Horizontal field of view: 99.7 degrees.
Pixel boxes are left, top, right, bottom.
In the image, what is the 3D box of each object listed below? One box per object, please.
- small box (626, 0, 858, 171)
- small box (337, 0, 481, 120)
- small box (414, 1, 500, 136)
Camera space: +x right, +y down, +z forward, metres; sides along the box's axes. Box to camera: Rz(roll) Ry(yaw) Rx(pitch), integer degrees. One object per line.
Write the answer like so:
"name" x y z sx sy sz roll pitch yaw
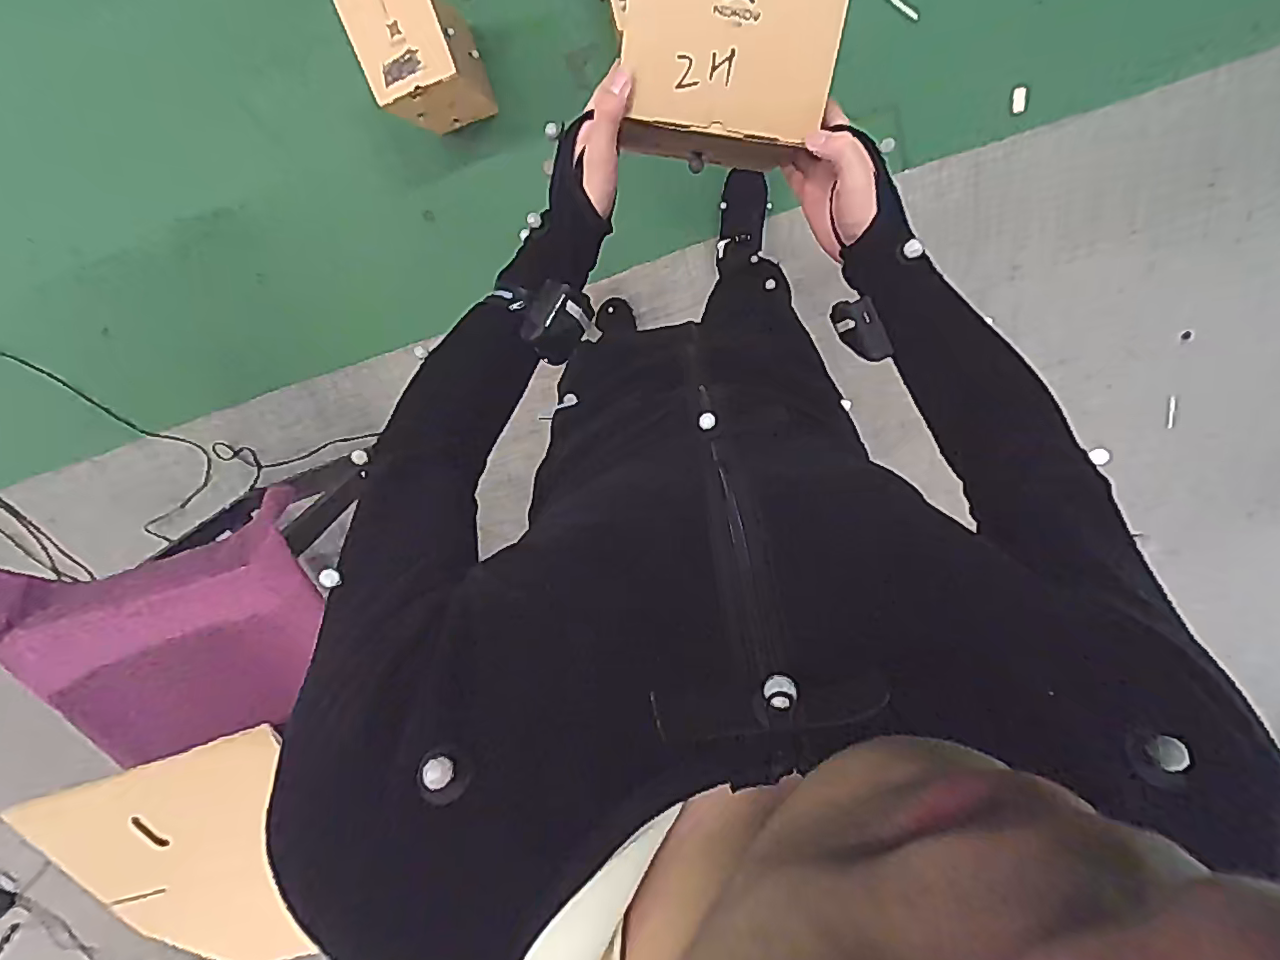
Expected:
"small box" 0.078 -0.389 0.472 0.168 0.176 0.179 6 113 -4
"small box" -0.430 -0.822 1.042 0.168 0.176 0.179 -16 113 7
"small box" -0.430 -0.891 1.190 0.168 0.176 0.179 -16 114 7
